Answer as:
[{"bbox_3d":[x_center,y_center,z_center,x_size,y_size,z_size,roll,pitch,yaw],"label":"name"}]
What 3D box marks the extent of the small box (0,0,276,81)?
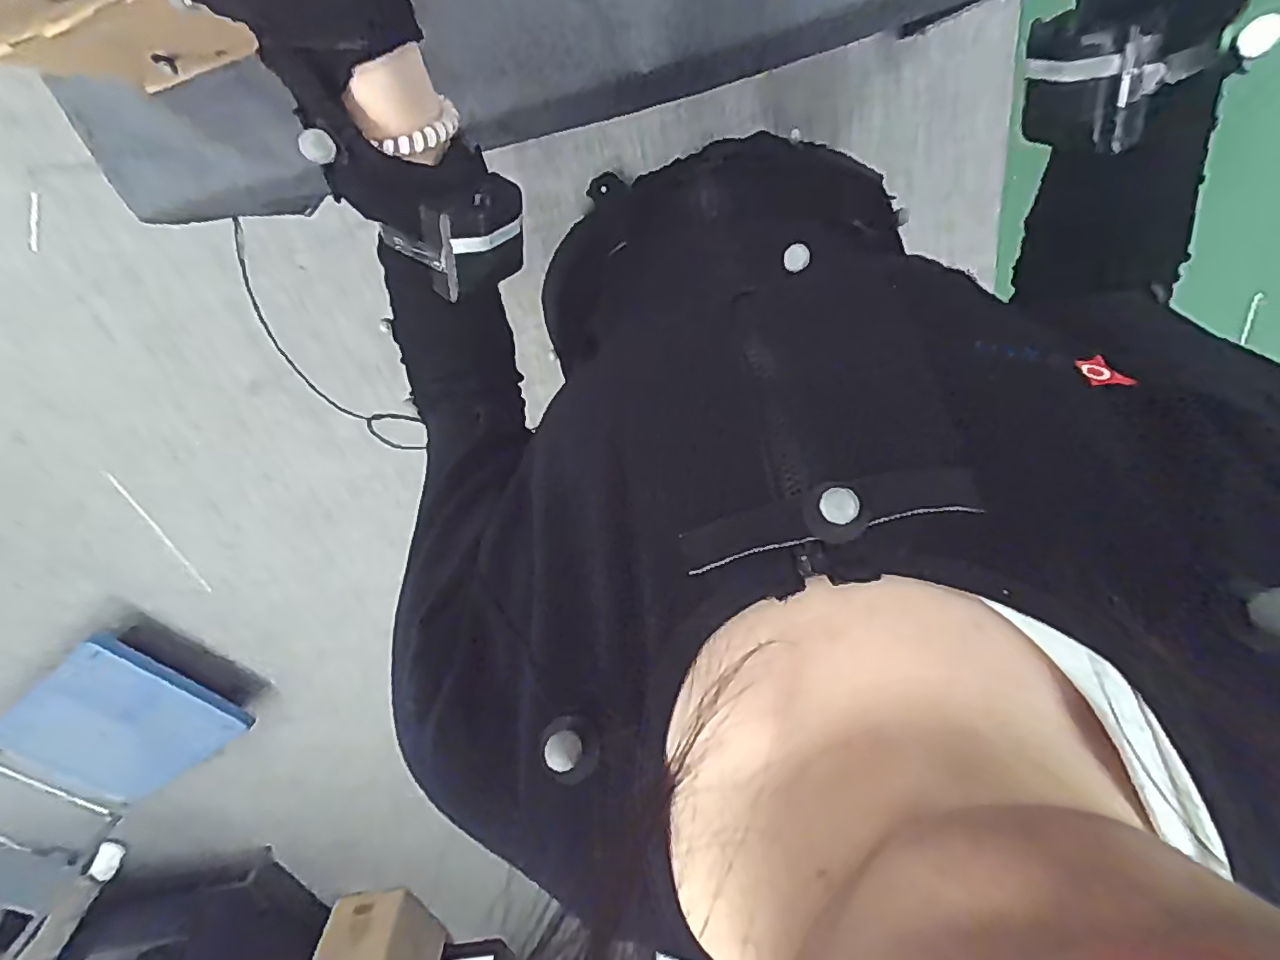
[{"bbox_3d":[-0.445,-0.449,0.423,0.168,0.176,0.179,-14,119,7],"label":"small box"}]
